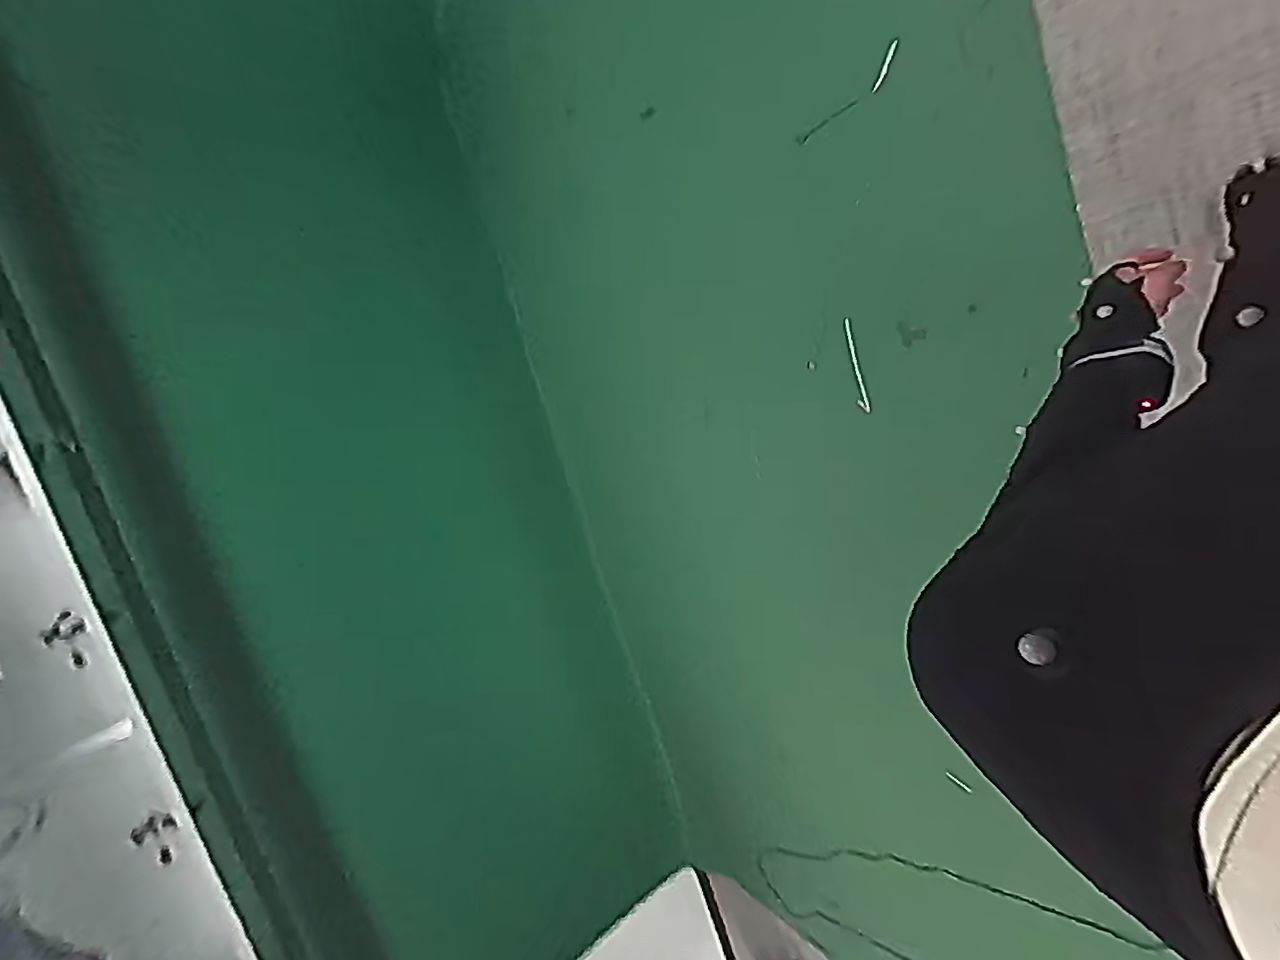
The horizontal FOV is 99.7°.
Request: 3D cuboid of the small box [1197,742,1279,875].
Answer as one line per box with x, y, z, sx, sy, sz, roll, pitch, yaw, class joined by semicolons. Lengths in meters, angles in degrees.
1.294;0.678;1.115;0.179;0.176;0.168;-1;106;56;small box
